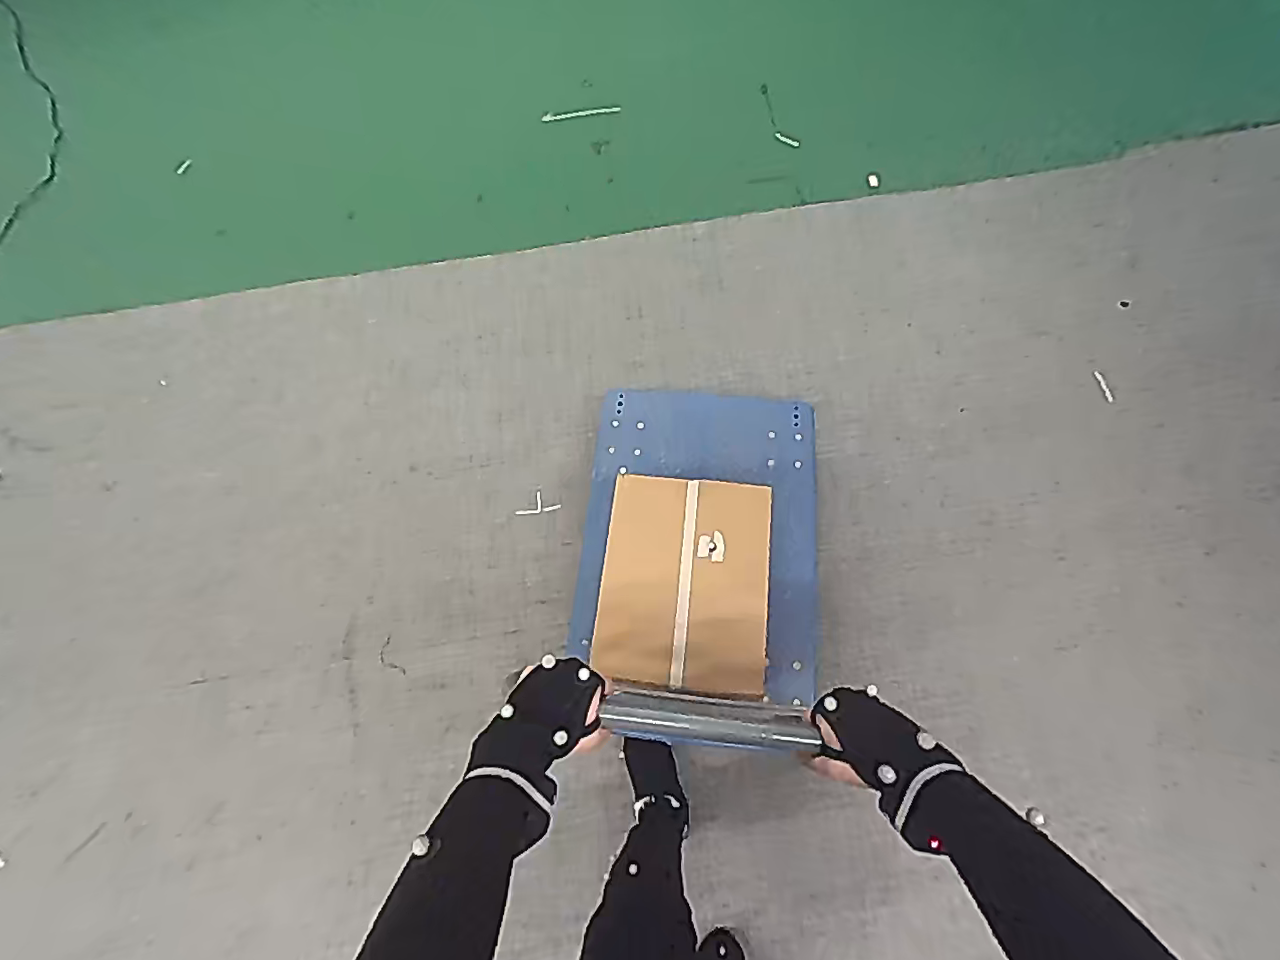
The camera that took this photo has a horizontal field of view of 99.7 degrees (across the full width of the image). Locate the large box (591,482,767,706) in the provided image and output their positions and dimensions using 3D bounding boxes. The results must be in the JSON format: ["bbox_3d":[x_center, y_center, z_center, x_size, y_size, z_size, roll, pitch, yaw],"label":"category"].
[{"bbox_3d":[0.091,0.256,1.162,0.320,0.320,0.408,5,67,5],"label":"large box"}]
